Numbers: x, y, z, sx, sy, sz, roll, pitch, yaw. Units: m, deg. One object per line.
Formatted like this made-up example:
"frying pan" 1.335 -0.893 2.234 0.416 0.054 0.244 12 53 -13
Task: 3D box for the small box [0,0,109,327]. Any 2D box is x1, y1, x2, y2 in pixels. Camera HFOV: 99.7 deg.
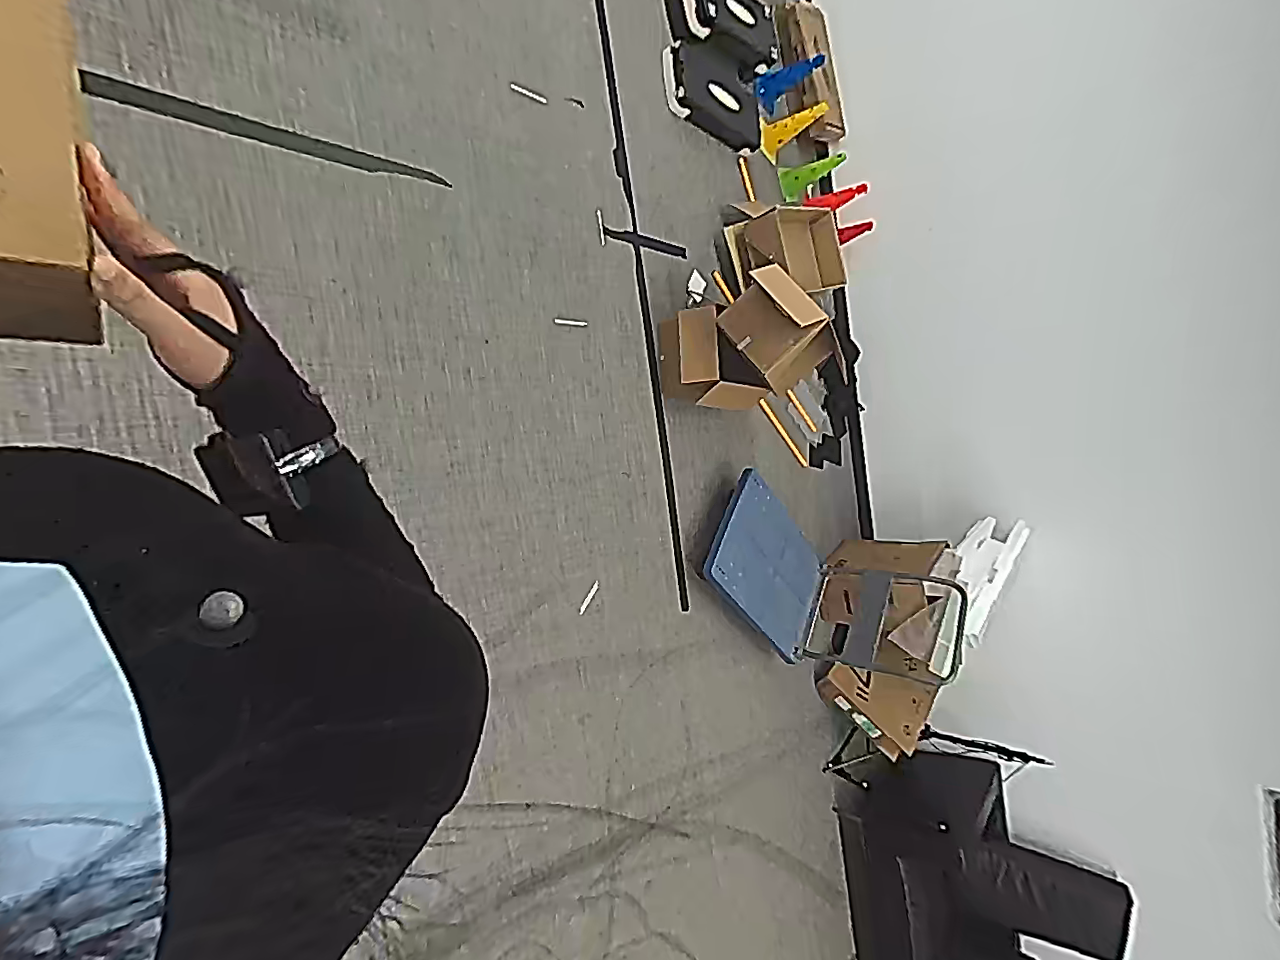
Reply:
"small box" -0.400 -0.191 0.282 0.168 0.176 0.179 -5 90 -44
